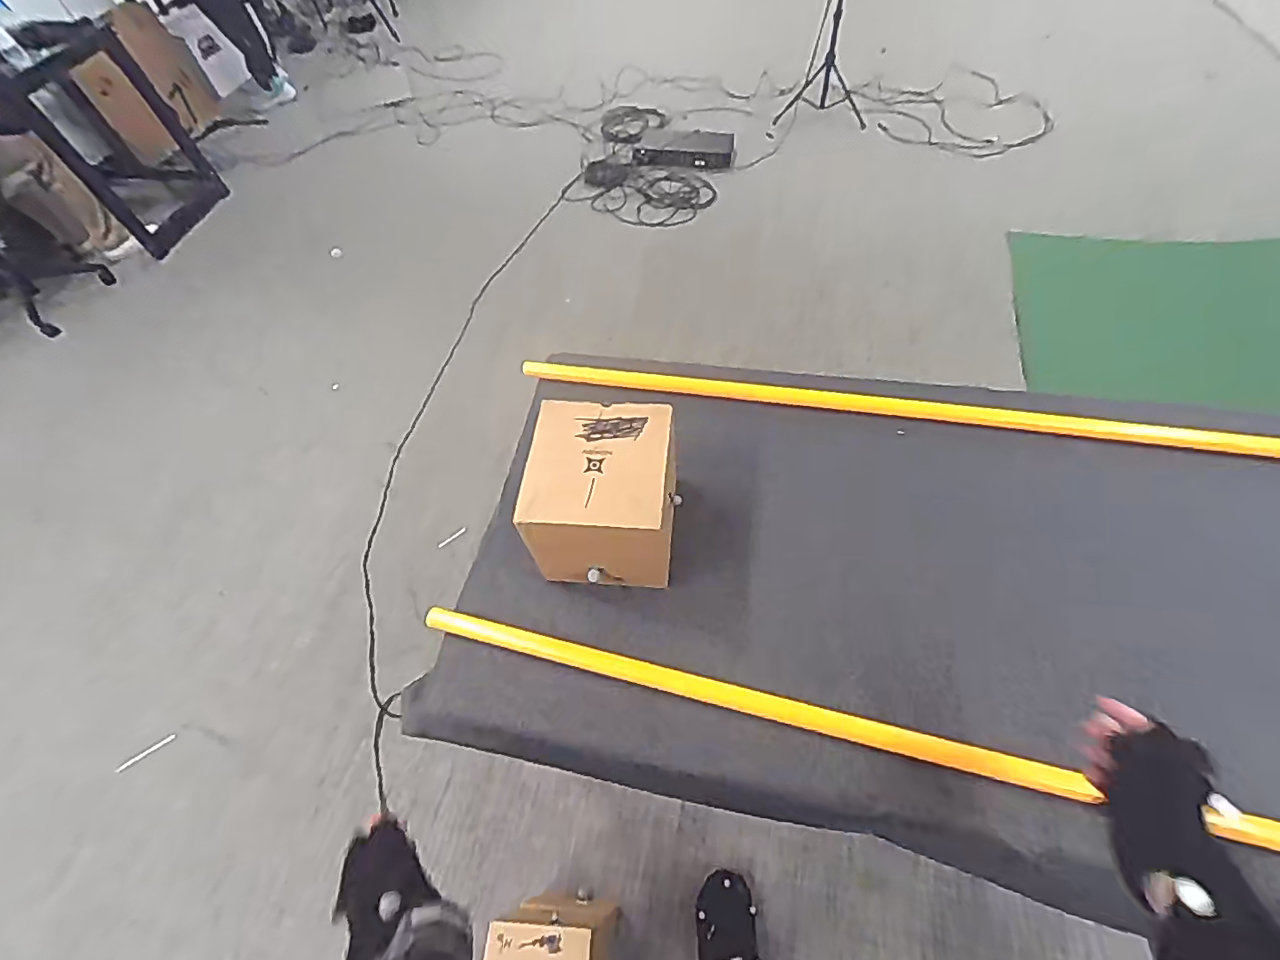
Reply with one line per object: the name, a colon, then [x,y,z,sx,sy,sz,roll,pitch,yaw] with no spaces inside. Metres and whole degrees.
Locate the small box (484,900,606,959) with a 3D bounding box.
small box: [-0.151,0.805,0.878,0.168,0.176,0.179,-3,56,5]

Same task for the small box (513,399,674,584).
small box: [-0.045,0.017,0.696,0.168,0.176,0.179,2,58,7]
